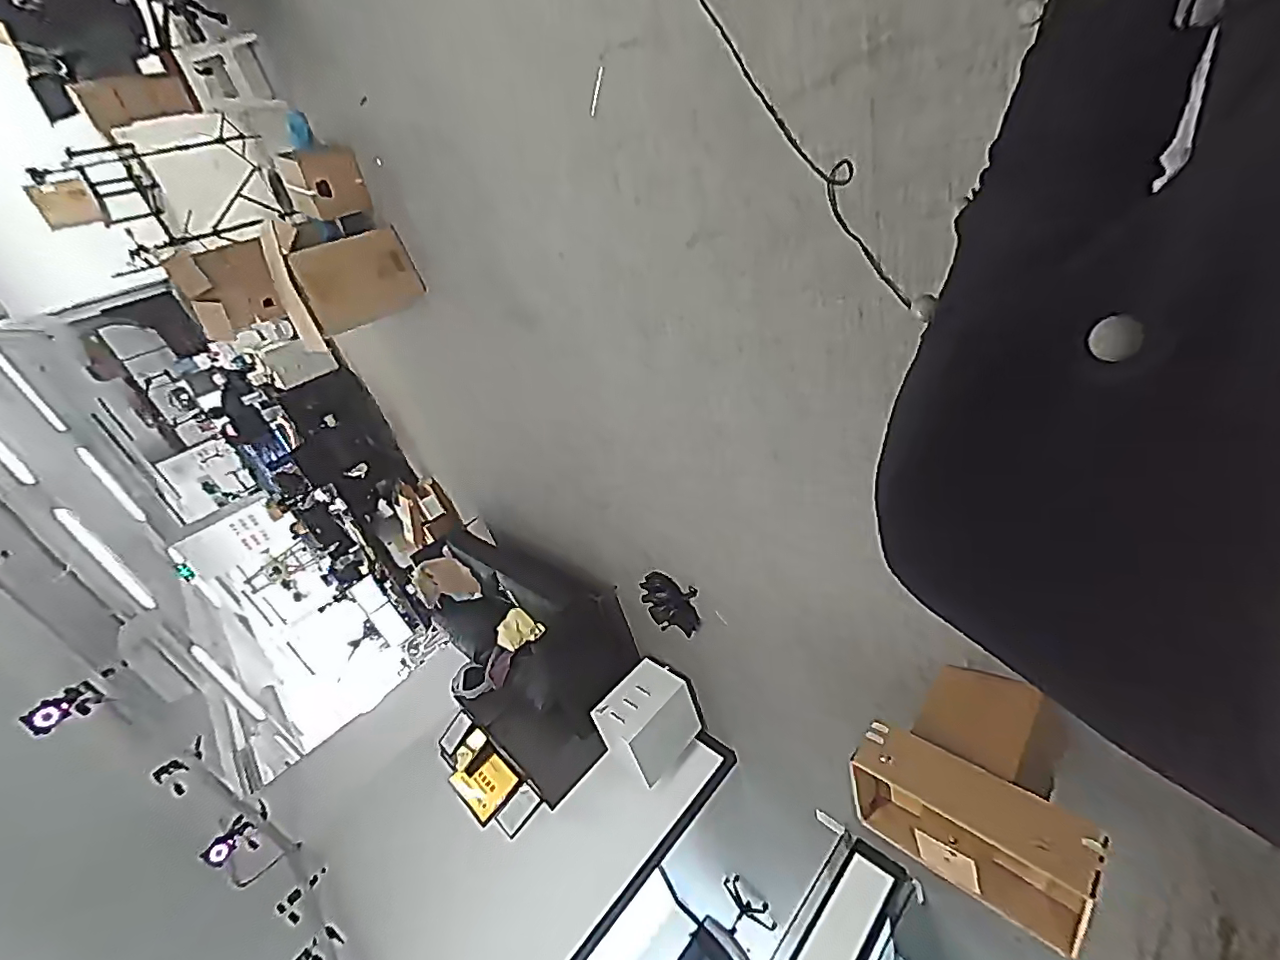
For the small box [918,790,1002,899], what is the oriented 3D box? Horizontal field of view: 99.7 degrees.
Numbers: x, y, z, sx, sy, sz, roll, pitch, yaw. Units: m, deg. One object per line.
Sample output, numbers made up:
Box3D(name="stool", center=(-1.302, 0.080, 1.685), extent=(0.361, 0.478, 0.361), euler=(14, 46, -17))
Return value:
Box3D(name="small box", center=(0.961, 1.081, 1.616), extent=(0.168, 0.176, 0.179), euler=(6, 127, 49))
